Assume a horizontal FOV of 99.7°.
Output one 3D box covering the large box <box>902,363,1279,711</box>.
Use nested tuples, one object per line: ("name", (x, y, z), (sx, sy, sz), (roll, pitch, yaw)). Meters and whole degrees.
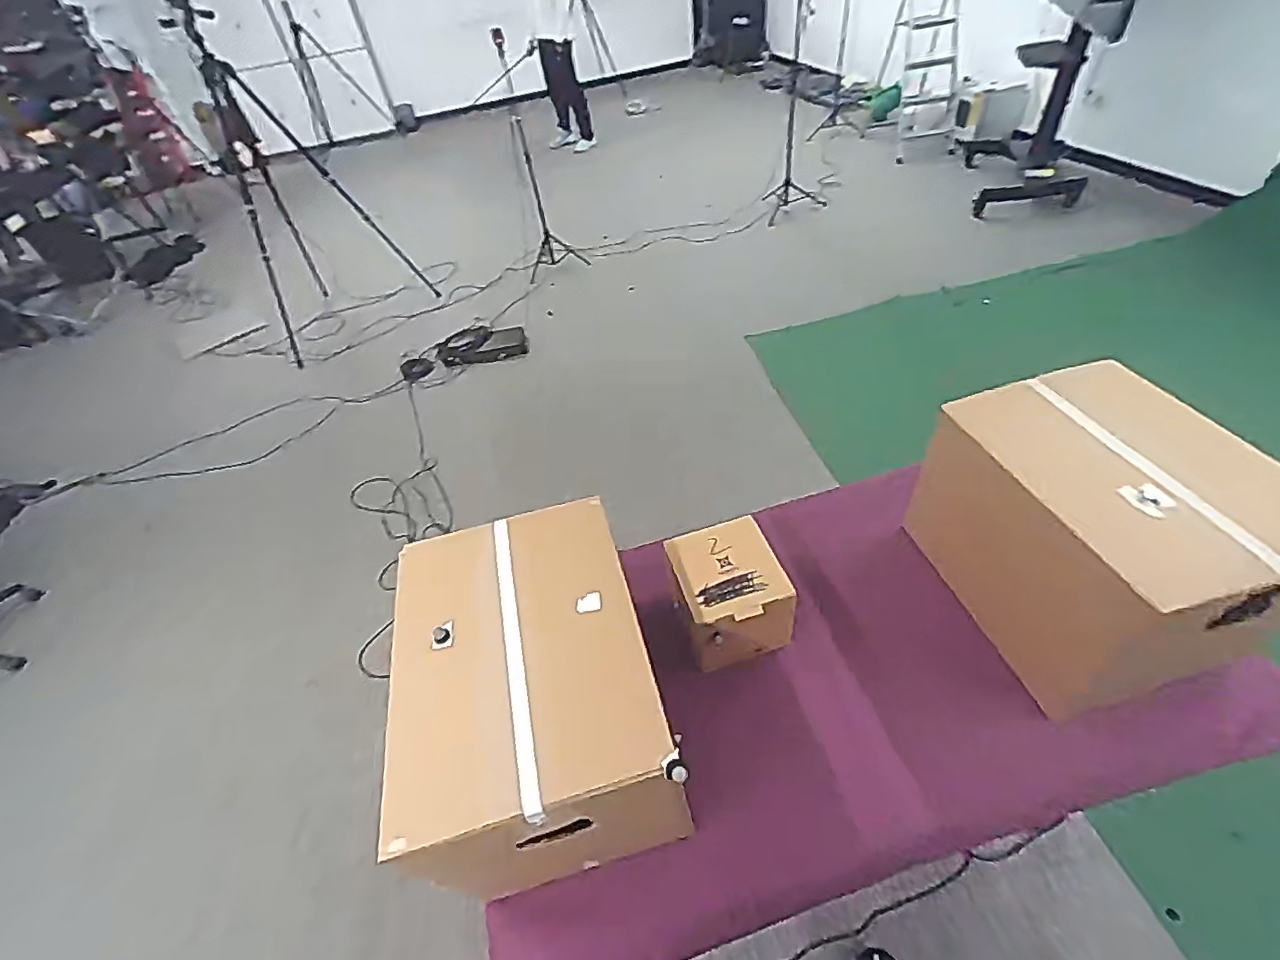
("large box", (0.696, 0.078, 0.856), (0.320, 0.320, 0.408), (-16, 46, -4))
